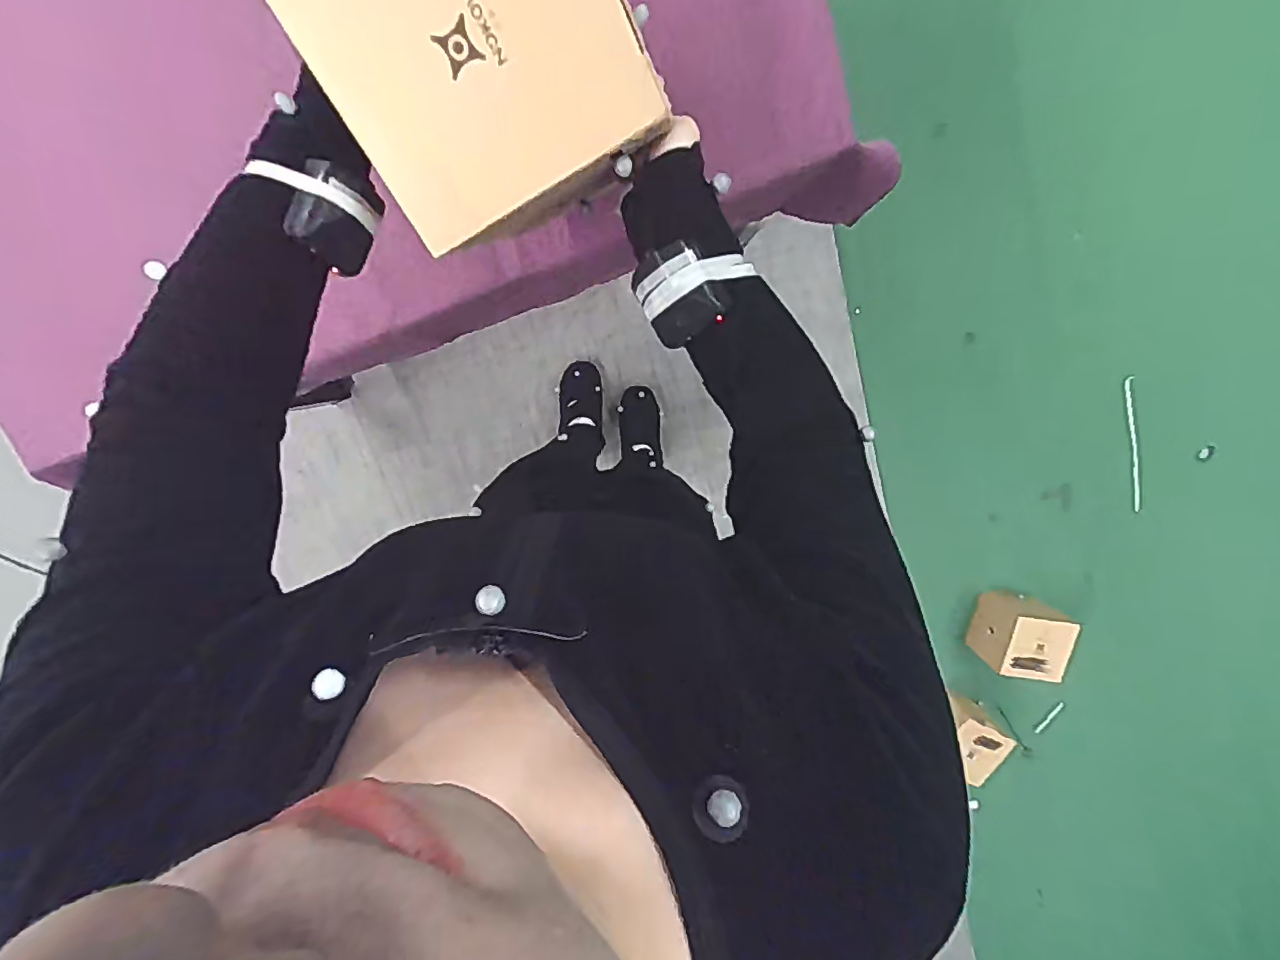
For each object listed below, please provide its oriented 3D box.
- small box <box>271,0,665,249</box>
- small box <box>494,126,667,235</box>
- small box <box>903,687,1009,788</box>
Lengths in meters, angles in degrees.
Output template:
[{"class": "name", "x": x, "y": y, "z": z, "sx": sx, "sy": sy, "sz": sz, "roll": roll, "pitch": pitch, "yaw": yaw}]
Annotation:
[{"class": "small box", "x": -0.093, "y": -0.284, "z": 0.373, "sx": 0.179, "sy": 0.176, "sz": 0.168, "roll": -23, "pitch": 114, "yaw": 16}, {"class": "small box", "x": -0.082, "y": -0.356, "z": 0.519, "sx": 0.179, "sy": 0.176, "sz": 0.168, "roll": -19, "pitch": 116, "yaw": 14}, {"class": "small box", "x": 0.908, "y": 0.741, "z": 1.574, "sx": 0.168, "sy": 0.176, "sz": 0.179, "roll": 28, "pitch": 104, "yaw": -6}]
